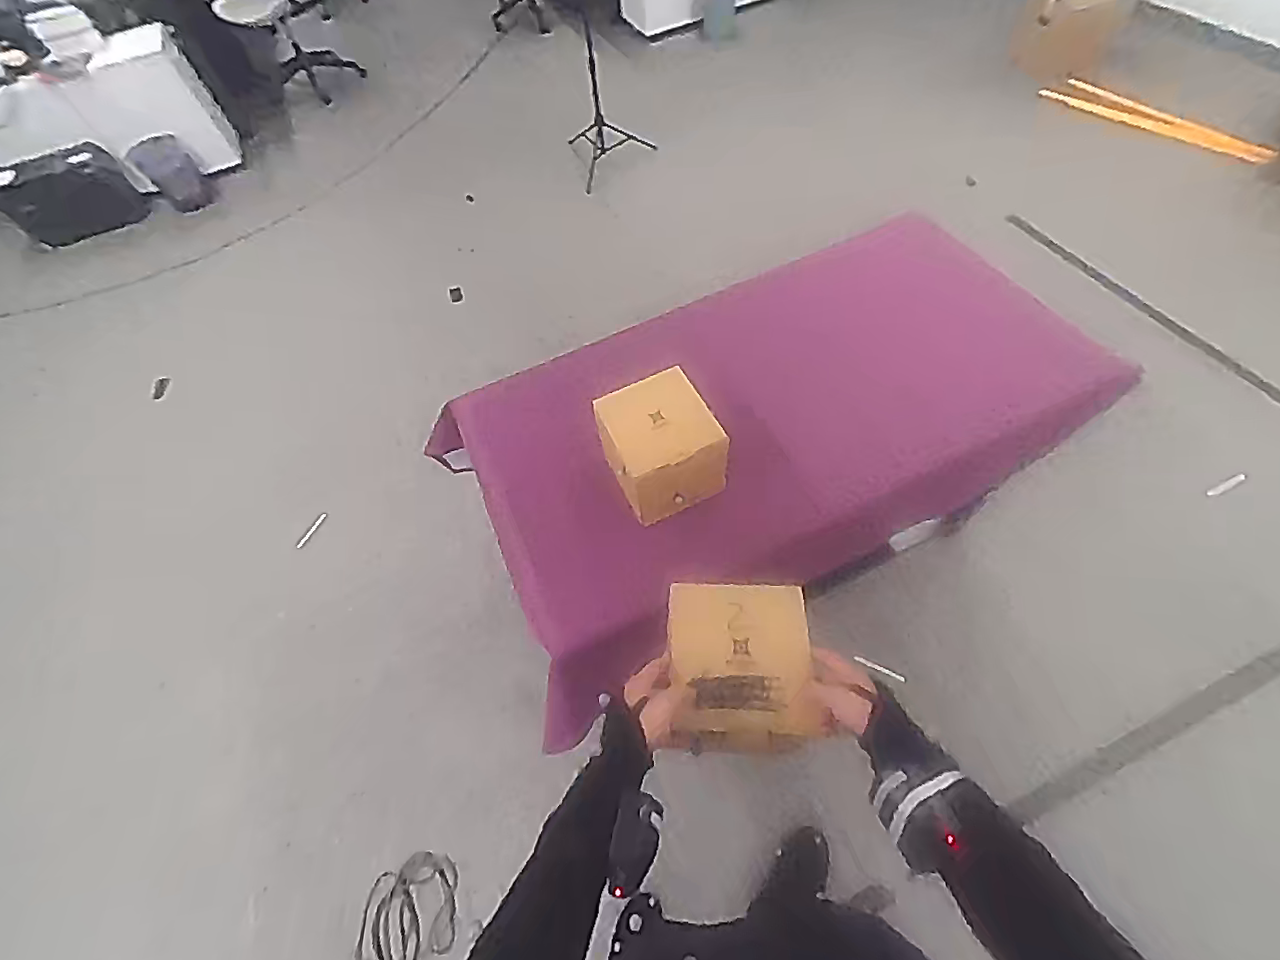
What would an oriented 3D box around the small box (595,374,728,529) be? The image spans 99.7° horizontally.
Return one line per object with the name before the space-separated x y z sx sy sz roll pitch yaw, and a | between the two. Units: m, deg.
small box | 0.036 -0.046 0.944 0.168 0.176 0.179 -24 60 -9
